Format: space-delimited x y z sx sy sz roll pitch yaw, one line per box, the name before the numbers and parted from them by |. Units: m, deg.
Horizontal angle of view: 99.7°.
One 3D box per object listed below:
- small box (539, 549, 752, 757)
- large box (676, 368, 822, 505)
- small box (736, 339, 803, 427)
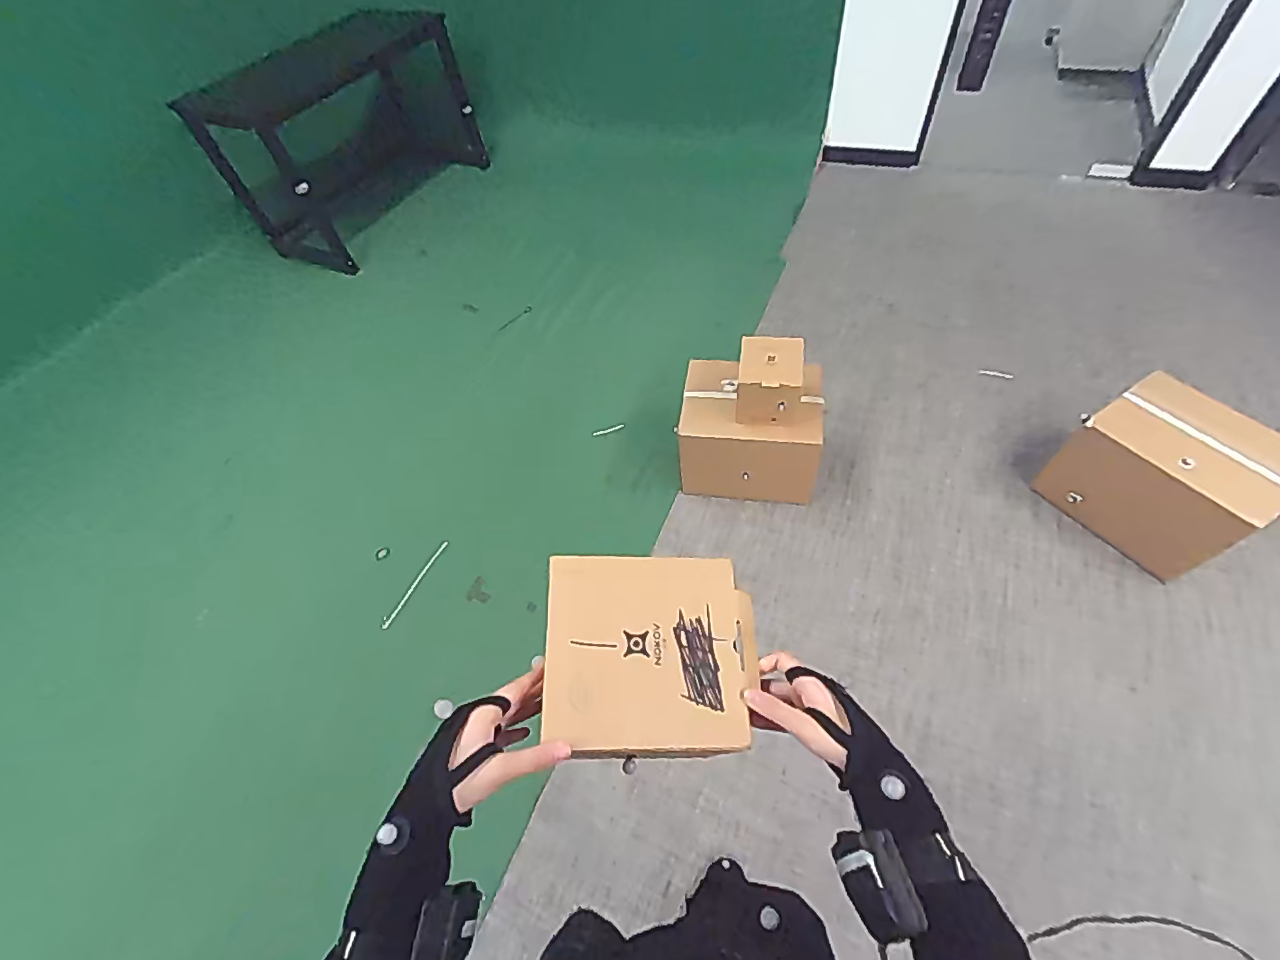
small box | -0.004 0.179 0.540 0.179 0.176 0.168 2 60 -6
large box | 0.341 -0.135 1.700 0.408 0.320 0.320 3 54 12
small box | 0.353 -0.264 1.486 0.168 0.176 0.179 5 56 11
